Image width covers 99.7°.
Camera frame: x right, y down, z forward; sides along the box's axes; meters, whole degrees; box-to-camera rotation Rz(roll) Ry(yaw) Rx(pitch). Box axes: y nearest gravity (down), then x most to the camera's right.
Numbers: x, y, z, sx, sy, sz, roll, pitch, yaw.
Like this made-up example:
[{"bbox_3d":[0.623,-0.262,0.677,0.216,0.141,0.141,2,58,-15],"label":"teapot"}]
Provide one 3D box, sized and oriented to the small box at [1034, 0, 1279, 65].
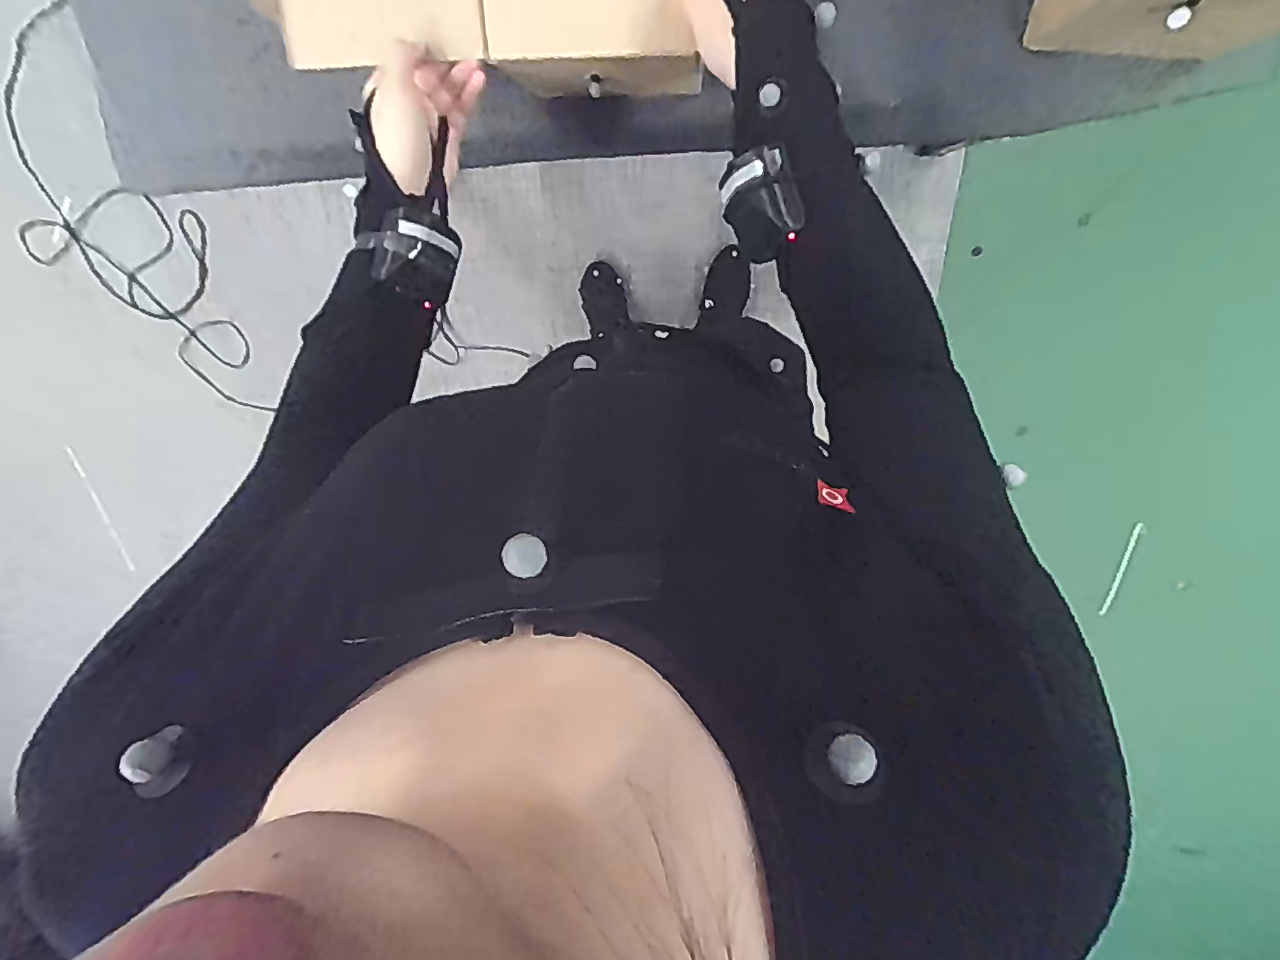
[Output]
[{"bbox_3d":[0.455,-0.447,0.415,0.179,0.176,0.168,6,112,4],"label":"small box"}]
